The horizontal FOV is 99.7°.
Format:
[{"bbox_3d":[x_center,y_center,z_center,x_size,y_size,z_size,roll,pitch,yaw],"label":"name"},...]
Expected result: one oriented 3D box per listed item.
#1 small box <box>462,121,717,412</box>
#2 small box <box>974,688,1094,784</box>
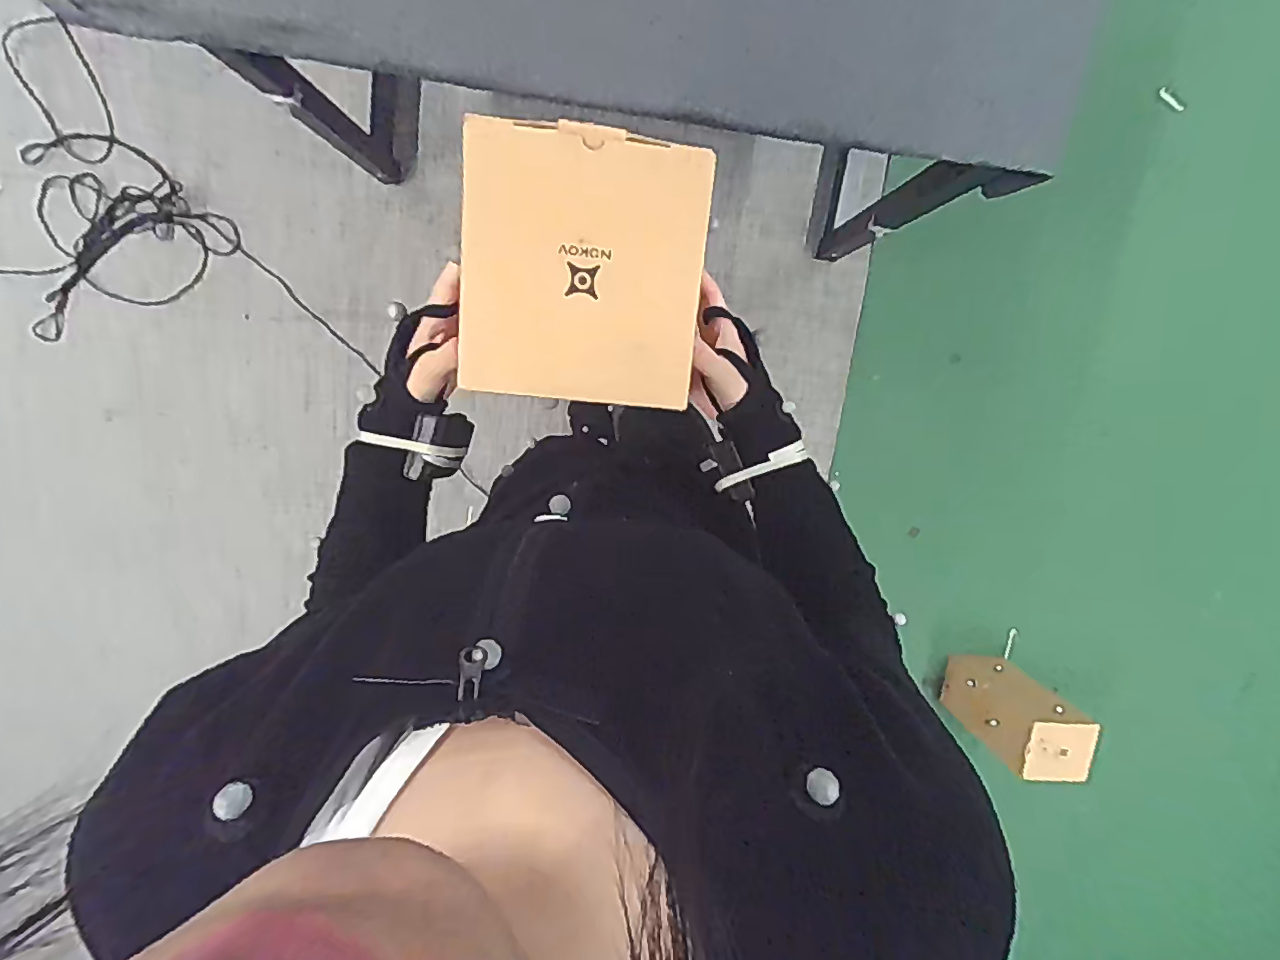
[{"bbox_3d":[-0.043,-0.158,0.452,0.168,0.176,0.179,5,102,-6],"label":"small box"},{"bbox_3d":[1.036,0.674,1.436,0.179,0.176,0.168,4,100,-4],"label":"small box"}]
